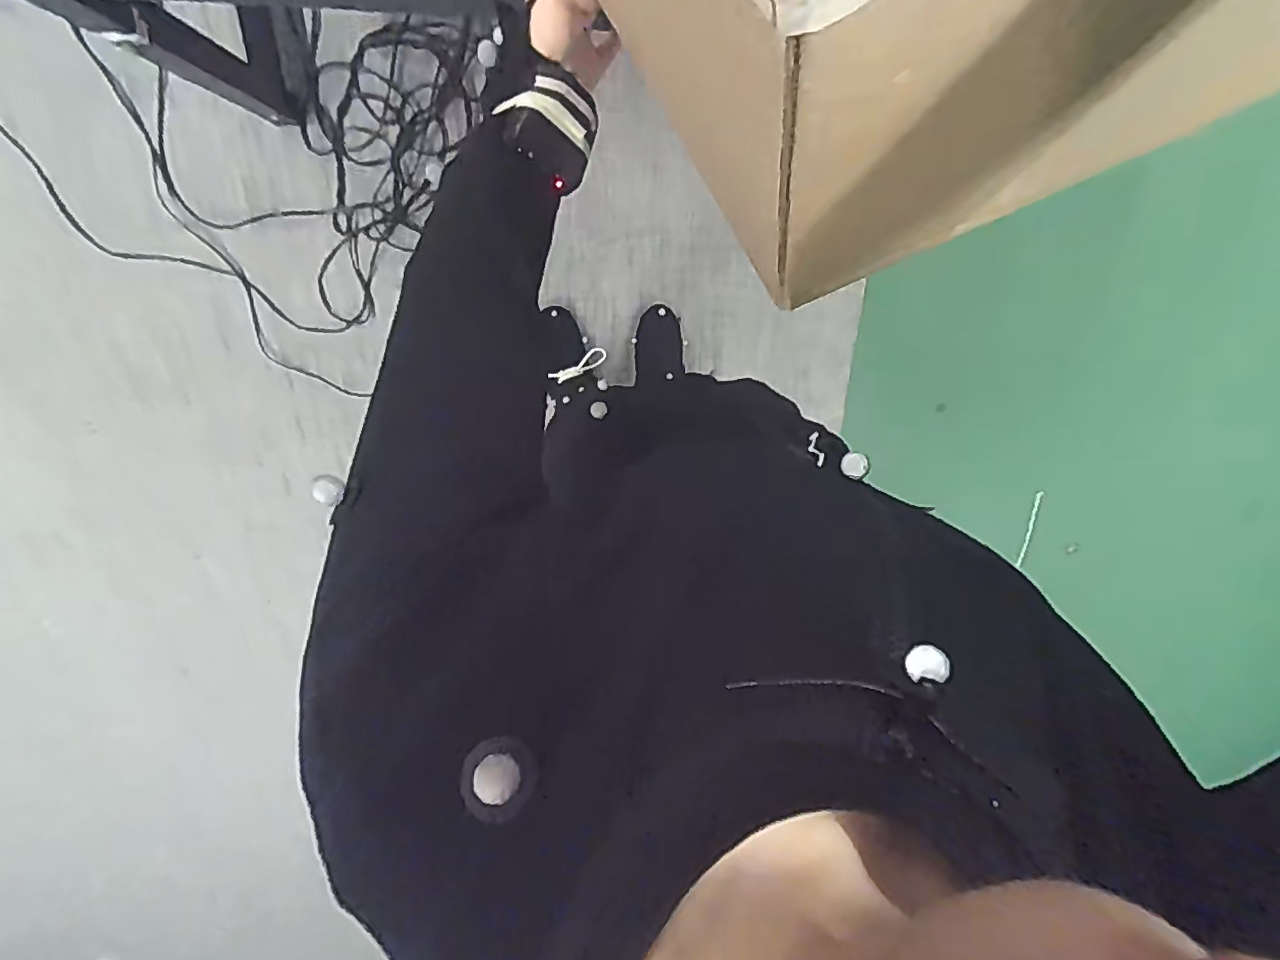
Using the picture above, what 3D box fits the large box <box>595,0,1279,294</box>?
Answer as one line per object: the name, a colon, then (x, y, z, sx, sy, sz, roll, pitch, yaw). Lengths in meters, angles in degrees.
large box: (0.110, -0.370, 0.217, 0.320, 0.320, 0.408, -25, 69, 3)
